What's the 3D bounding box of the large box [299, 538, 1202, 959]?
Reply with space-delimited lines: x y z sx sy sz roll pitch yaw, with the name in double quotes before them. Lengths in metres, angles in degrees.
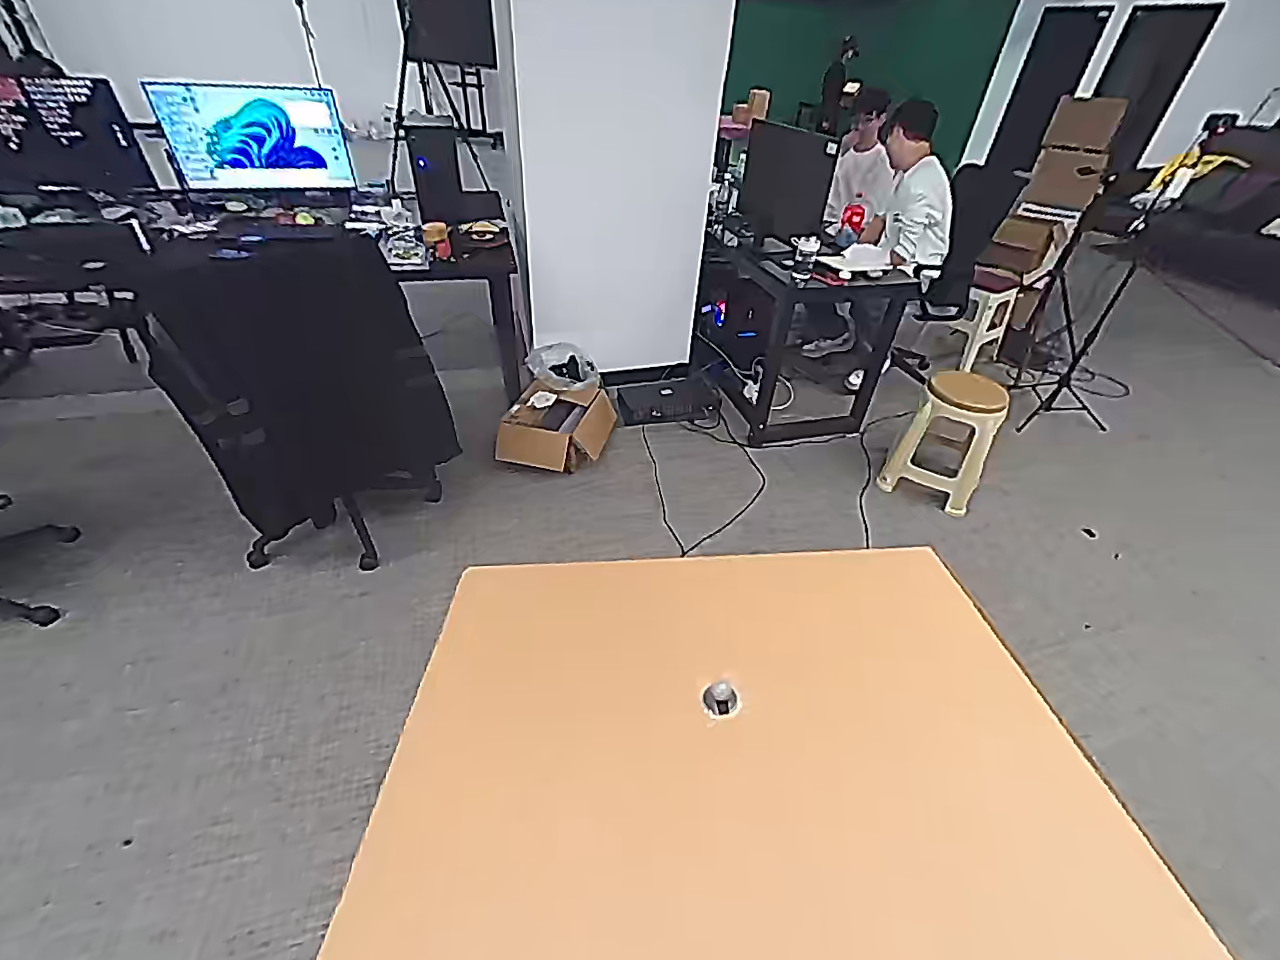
"large box" 0.045 0.270 0.419 0.408 0.320 0.320 -5 34 0
